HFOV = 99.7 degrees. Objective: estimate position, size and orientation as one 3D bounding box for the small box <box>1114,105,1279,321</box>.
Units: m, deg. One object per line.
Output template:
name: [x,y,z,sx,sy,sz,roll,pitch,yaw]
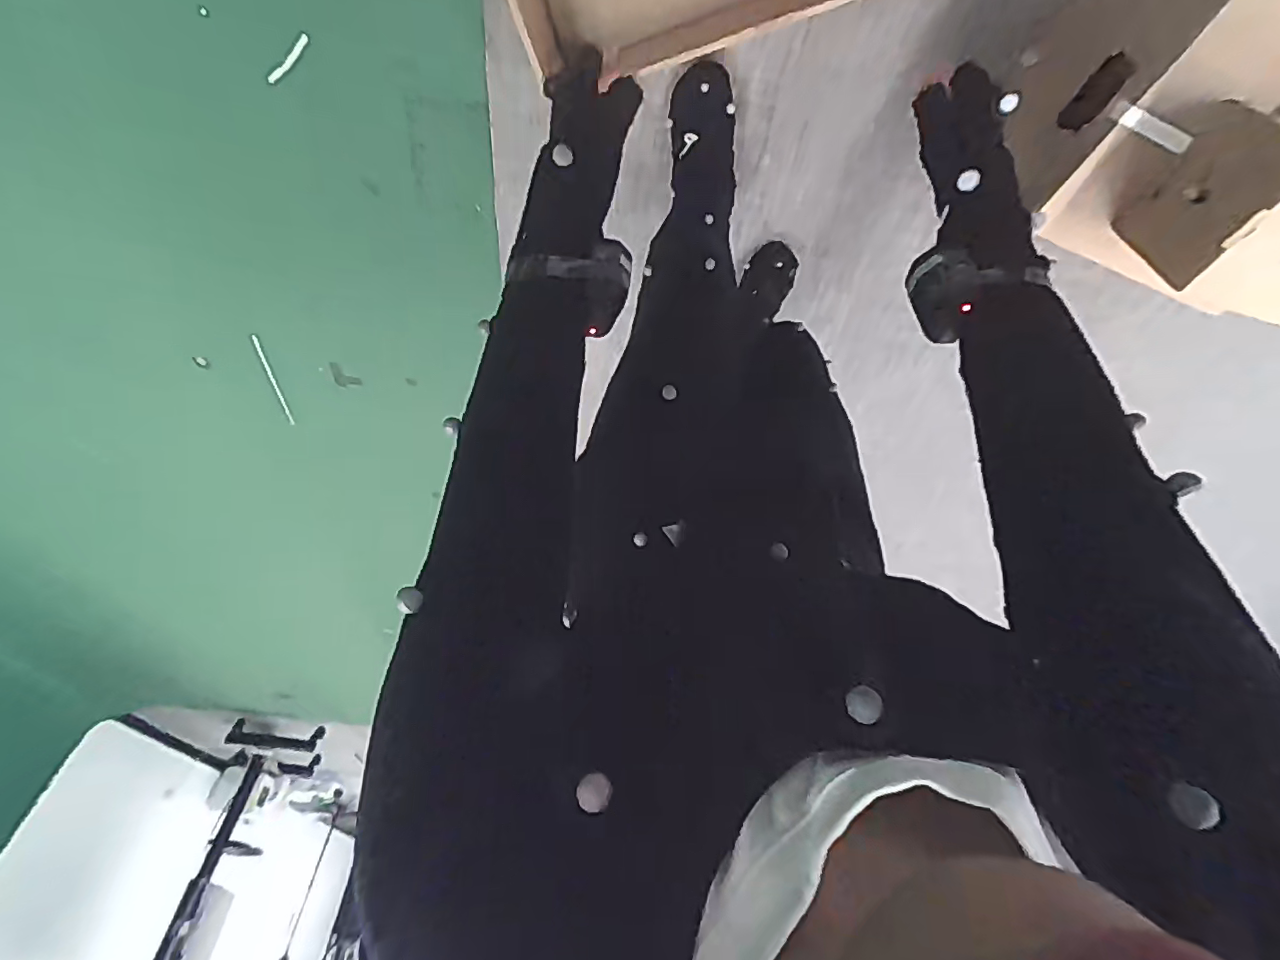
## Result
small box: [0.759,-0.332,0.671,0.179,0.176,0.168,12,141,-9]
